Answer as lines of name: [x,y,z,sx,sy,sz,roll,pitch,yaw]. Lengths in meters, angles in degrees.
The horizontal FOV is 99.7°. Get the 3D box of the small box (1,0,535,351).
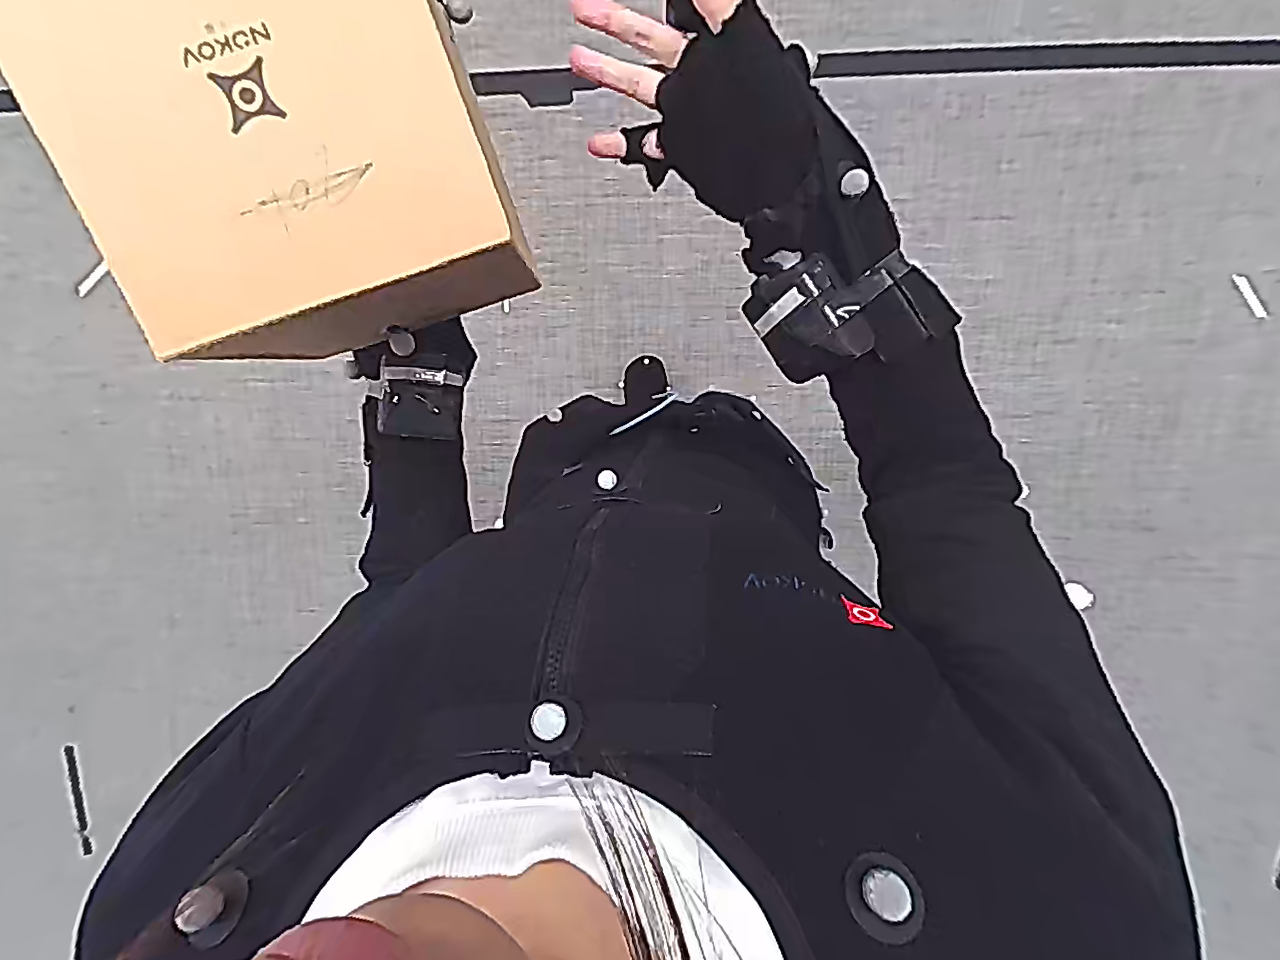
small box: [-0.169,-0.183,0.310,0.168,0.176,0.179,-19,104,-2]
